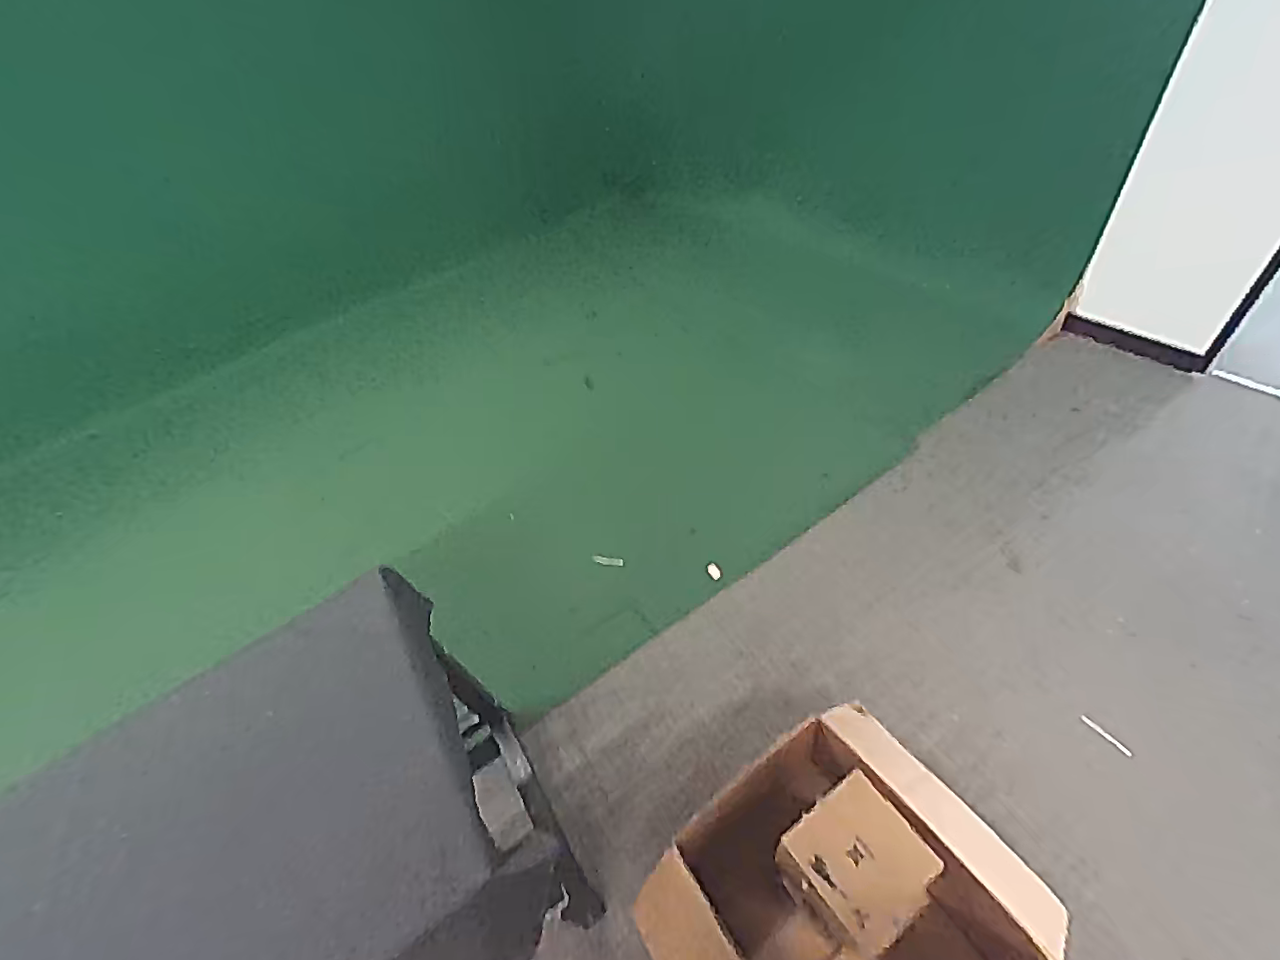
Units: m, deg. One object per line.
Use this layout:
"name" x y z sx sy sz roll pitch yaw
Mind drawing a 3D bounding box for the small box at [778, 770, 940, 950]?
"small box" 0.343 0.619 0.885 0.179 0.176 0.168 -30 50 -17
